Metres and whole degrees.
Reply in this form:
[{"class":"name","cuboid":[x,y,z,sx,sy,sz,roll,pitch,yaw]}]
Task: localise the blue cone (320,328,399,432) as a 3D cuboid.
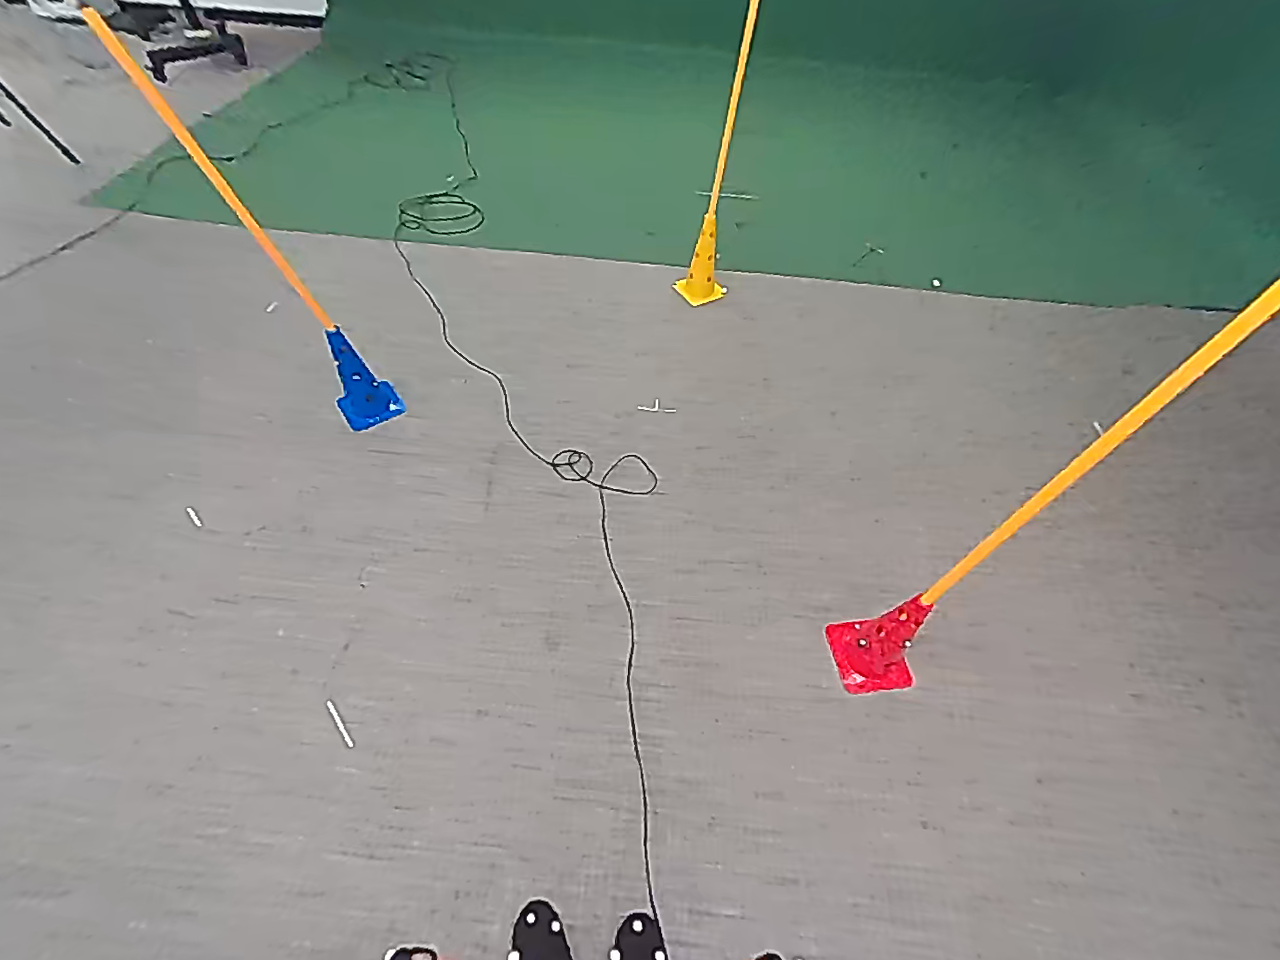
[{"class":"blue cone","cuboid":[-1.001,-0.358,1.864,0.193,0.380,0.192,-33,62,-22]}]
